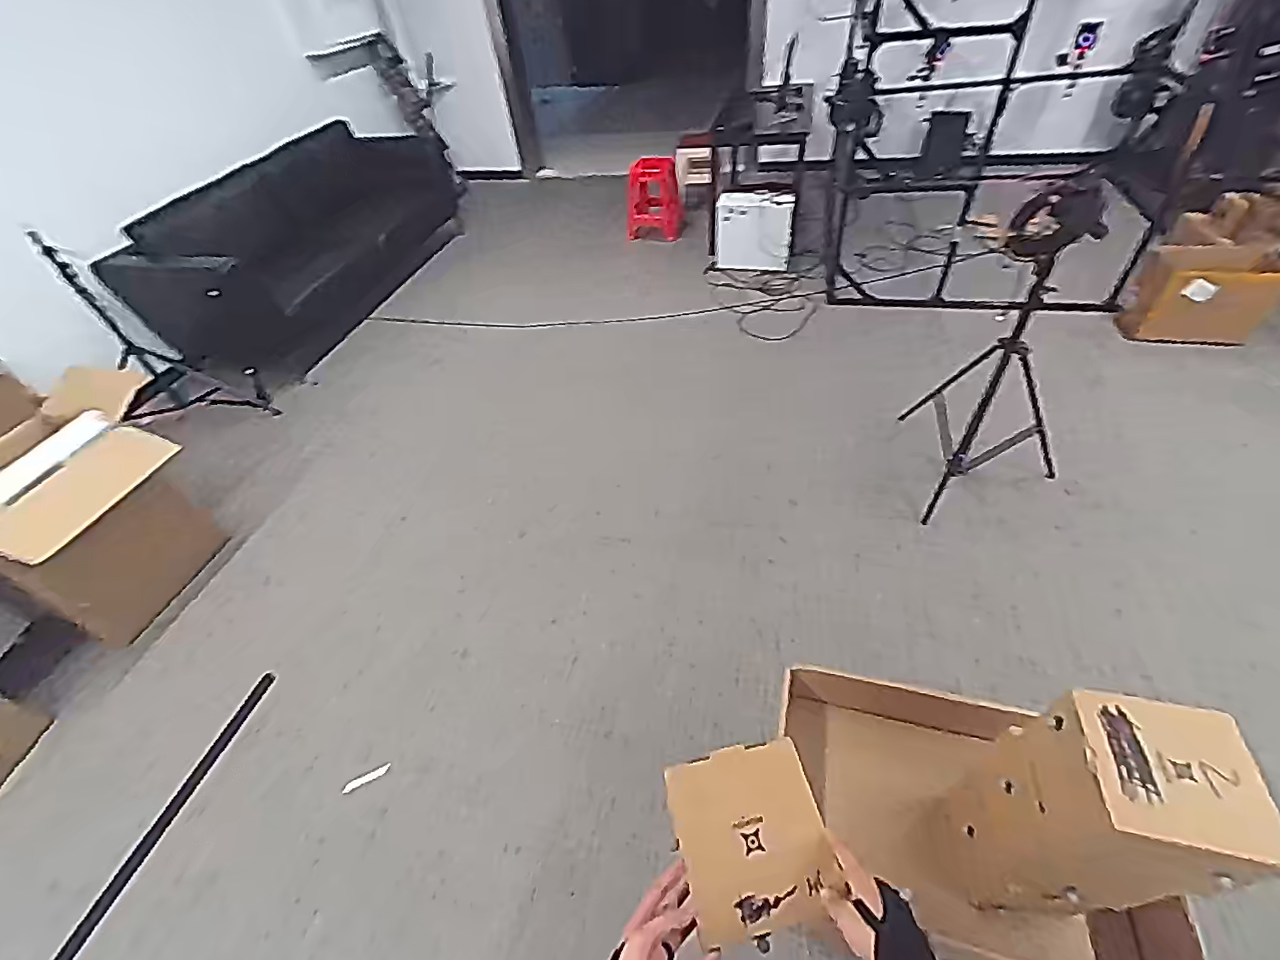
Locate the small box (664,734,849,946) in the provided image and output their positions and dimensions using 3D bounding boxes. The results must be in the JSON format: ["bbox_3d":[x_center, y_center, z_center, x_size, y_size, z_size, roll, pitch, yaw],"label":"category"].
[{"bbox_3d":[0.128,0.449,0.674,0.168,0.176,0.179,-12,50,-6],"label":"small box"}]

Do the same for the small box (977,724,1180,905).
[{"bbox_3d":[0.630,0.500,0.810,0.168,0.176,0.179,5,47,15],"label":"small box"}]
